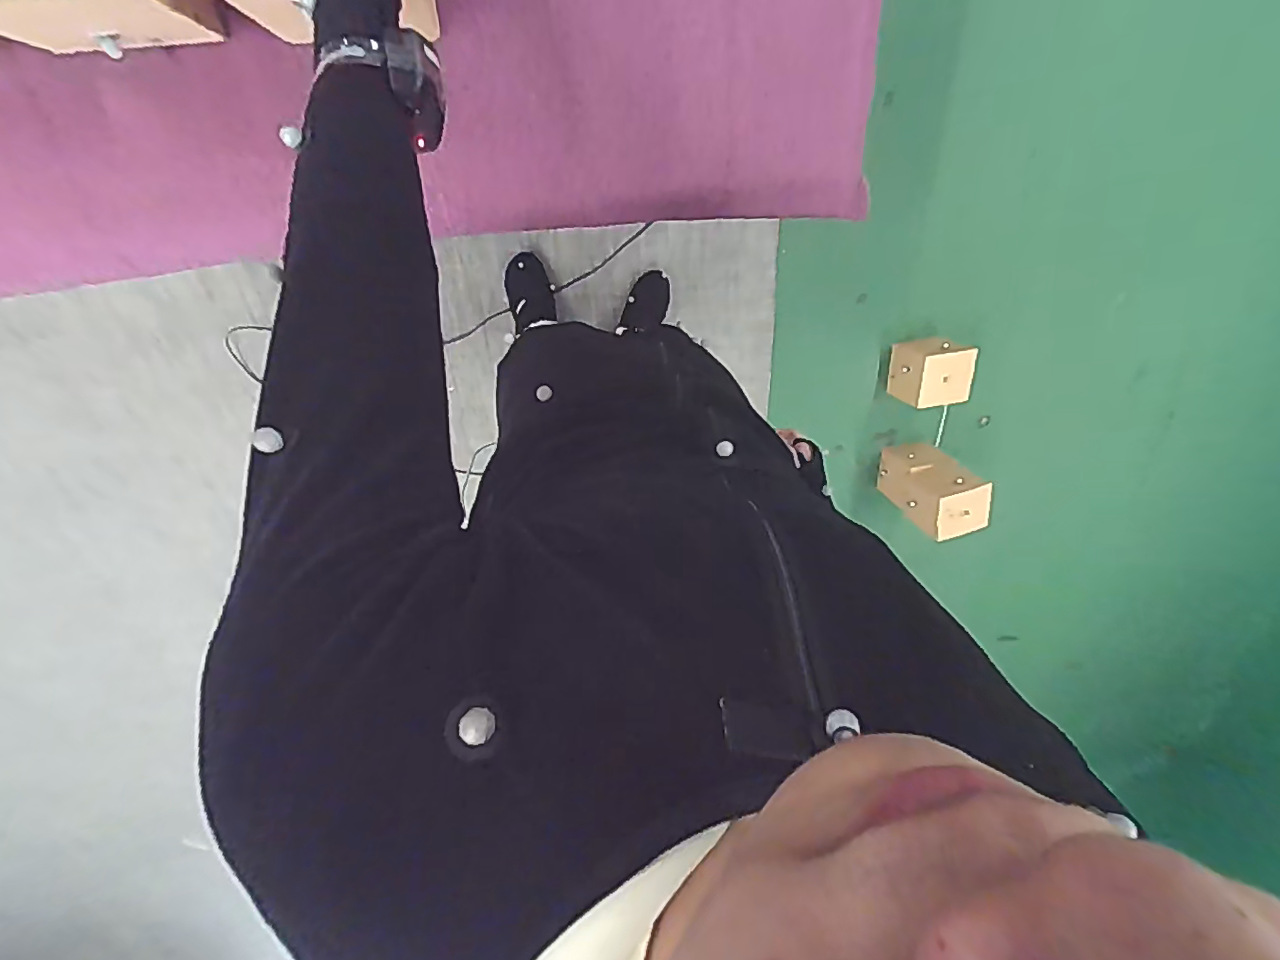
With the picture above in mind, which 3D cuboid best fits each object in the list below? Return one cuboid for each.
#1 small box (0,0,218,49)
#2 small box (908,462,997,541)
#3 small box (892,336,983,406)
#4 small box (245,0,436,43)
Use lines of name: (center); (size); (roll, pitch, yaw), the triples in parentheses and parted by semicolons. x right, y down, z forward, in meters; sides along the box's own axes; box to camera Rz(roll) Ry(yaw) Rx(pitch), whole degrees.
small box: (-0.512, -0.493, 0.452); (0.168, 0.176, 0.179); (-10, 120, -7)
small box: (0.984, 0.062, 1.715); (0.179, 0.176, 0.168); (-16, 119, -3)
small box: (0.912, -0.341, 1.676); (0.179, 0.176, 0.168); (-10, 119, -8)
small box: (-0.294, -0.524, 0.483); (0.168, 0.176, 0.179); (-8, 119, -7)
